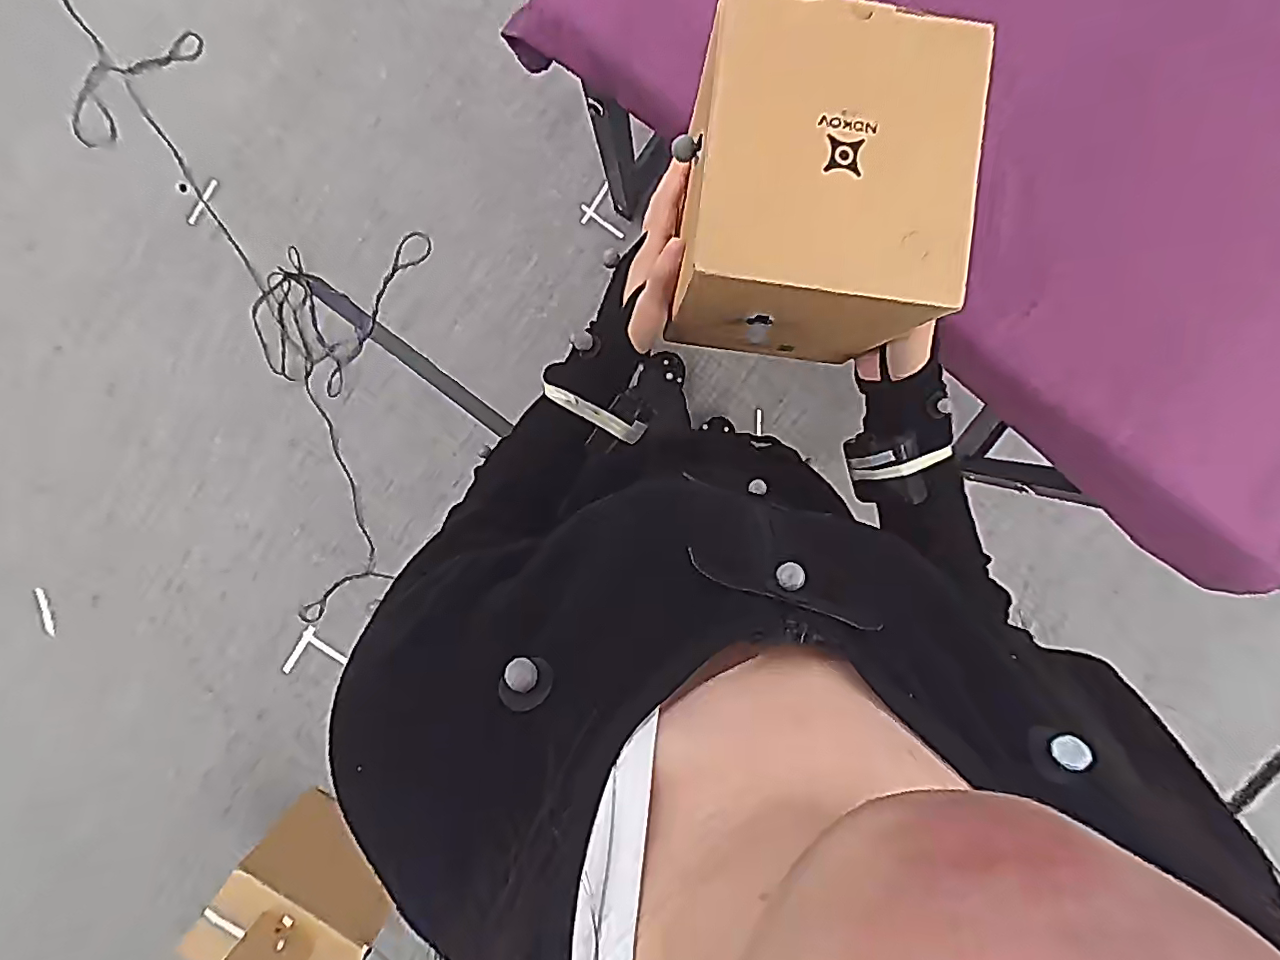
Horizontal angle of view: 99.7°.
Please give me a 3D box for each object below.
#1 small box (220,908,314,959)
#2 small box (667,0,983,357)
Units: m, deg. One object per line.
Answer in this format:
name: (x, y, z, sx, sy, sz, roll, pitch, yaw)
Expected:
small box: (-0.943, 1.211, 1.314, 0.168, 0.176, 0.179, 34, 96, -2)
small box: (0.115, -0.200, 0.406, 0.168, 0.176, 0.179, 6, 89, -4)
